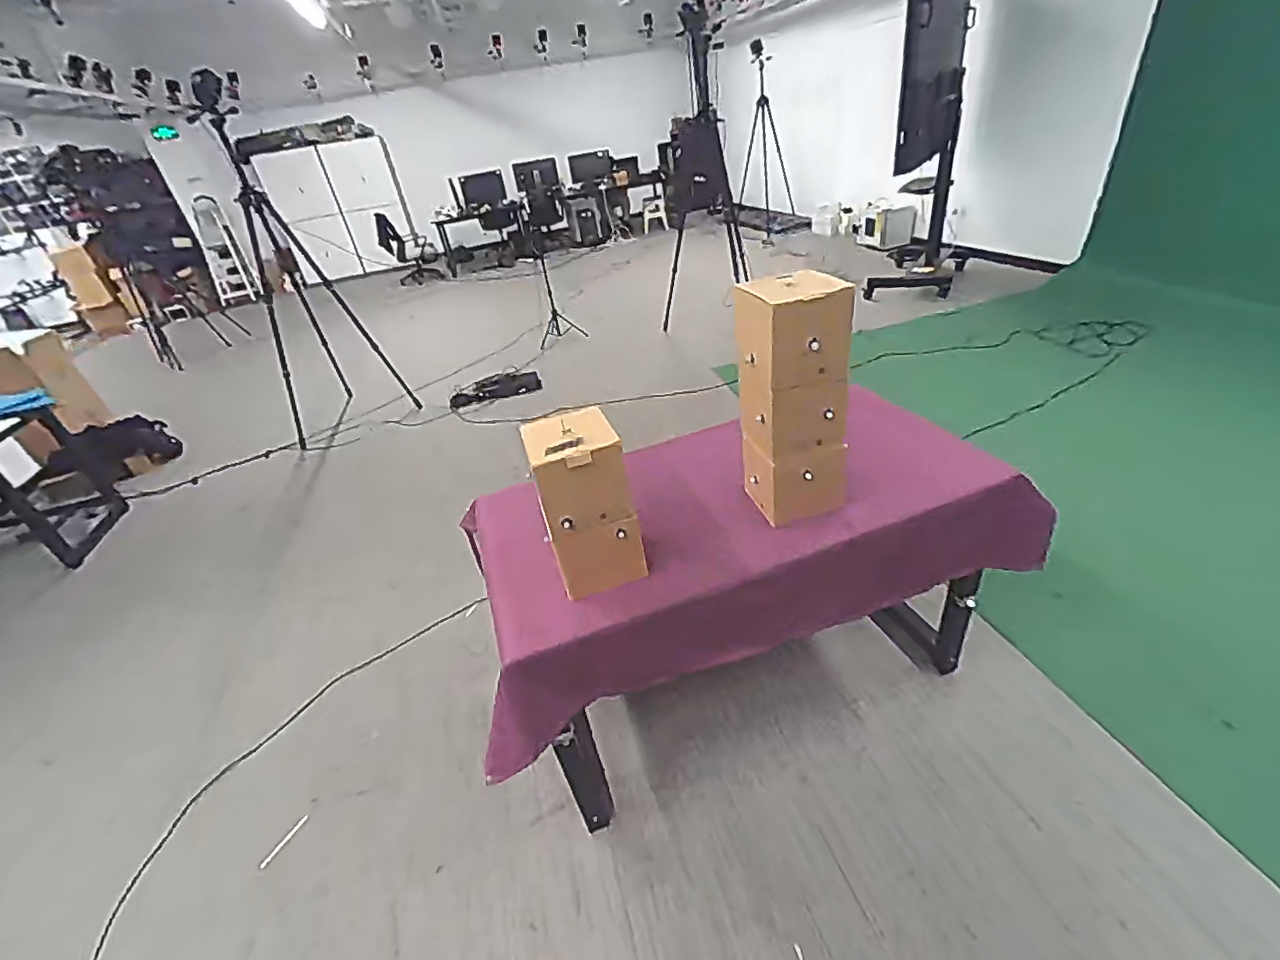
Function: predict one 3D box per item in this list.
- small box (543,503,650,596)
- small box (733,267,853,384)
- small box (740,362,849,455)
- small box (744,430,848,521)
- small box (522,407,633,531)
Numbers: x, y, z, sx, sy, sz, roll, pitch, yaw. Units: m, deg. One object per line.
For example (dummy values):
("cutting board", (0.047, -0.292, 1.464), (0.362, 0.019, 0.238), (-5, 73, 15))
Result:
("small box", (-0.092, 0.120, 1.151), (0.179, 0.176, 0.168), (-17, 34, -10))
("small box", (0.296, -0.300, 1.063), (0.168, 0.176, 0.179), (-15, 34, -7))
("small box", (0.325, -0.166, 1.154), (0.168, 0.176, 0.179), (-15, 33, -6))
("small box", (0.354, -0.028, 1.235), (0.179, 0.176, 0.168), (-15, 34, -6))
("small box", (-0.121, -0.017, 1.064), (0.168, 0.176, 0.179), (-17, 32, -10))
